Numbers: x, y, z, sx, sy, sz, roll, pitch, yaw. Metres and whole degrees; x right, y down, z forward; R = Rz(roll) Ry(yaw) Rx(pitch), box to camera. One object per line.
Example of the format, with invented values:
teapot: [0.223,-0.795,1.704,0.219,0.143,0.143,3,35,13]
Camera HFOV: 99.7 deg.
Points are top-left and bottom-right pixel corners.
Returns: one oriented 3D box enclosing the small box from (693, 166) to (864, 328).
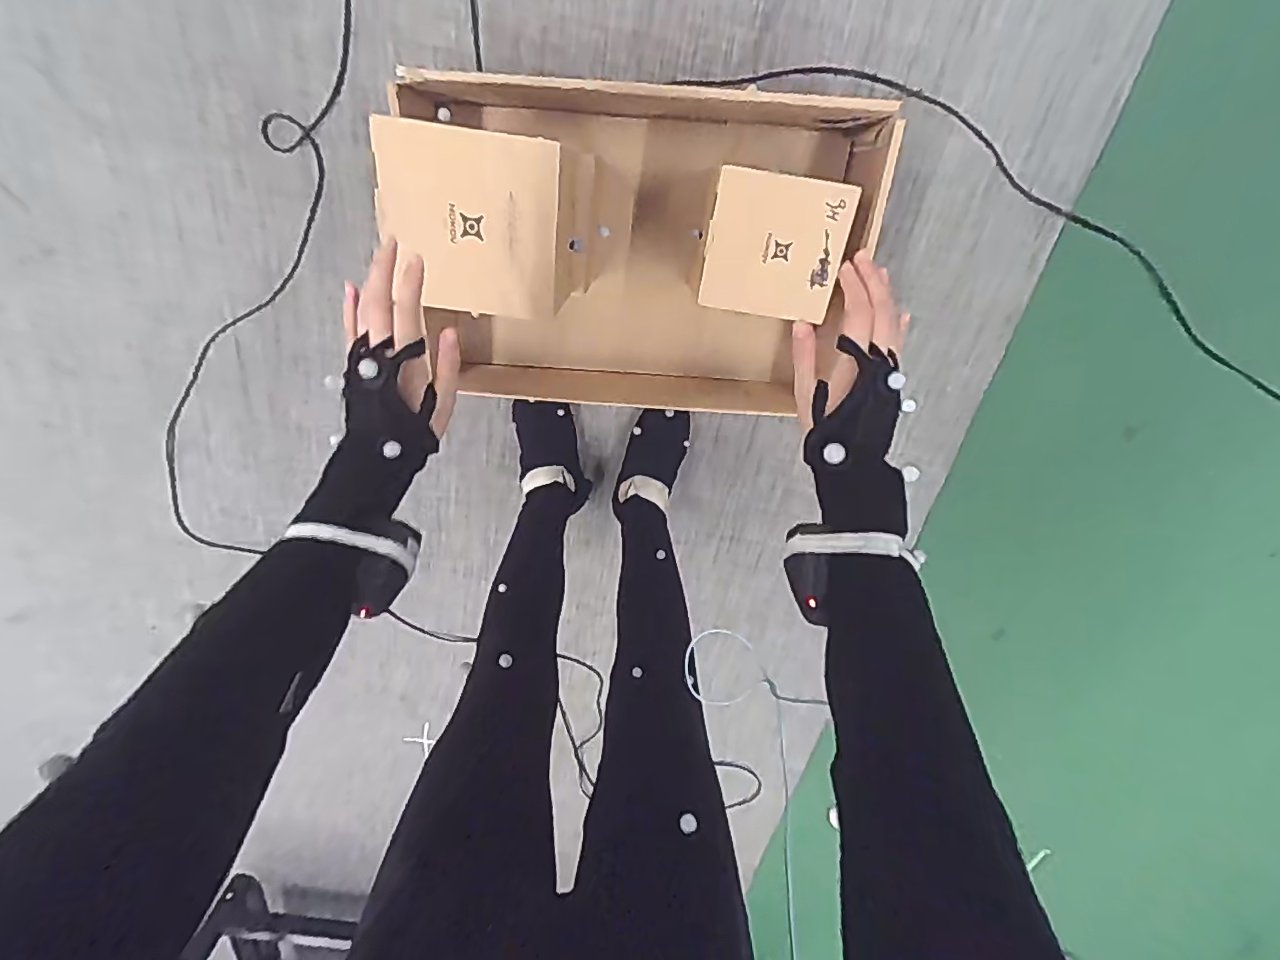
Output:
small box: [0.175,-0.324,0.754,0.179,0.176,0.168,9,117,-3]

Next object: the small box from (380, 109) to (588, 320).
small box: [-0.160,-0.287,0.597,0.179,0.176,0.168,8,118,-4]
